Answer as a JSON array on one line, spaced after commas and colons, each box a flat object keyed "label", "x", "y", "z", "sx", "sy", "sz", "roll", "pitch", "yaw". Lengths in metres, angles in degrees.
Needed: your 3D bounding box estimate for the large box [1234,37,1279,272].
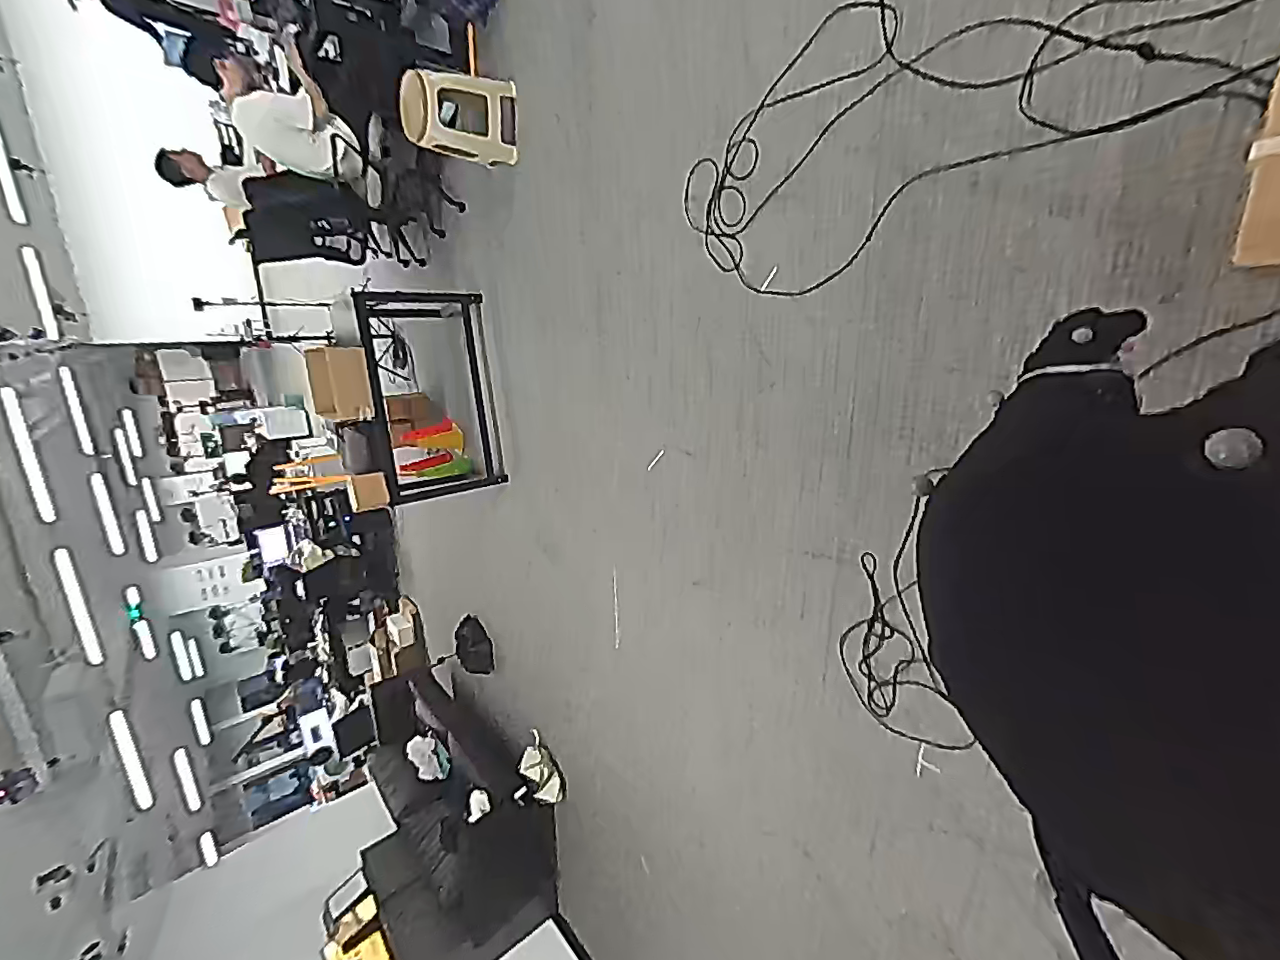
[{"label": "large box", "x": 1.103, "y": -0.464, "z": 0.707, "sx": 0.408, "sy": 0.320, "sz": 0.320, "roll": 15, "pitch": 113, "yaw": 46}]
